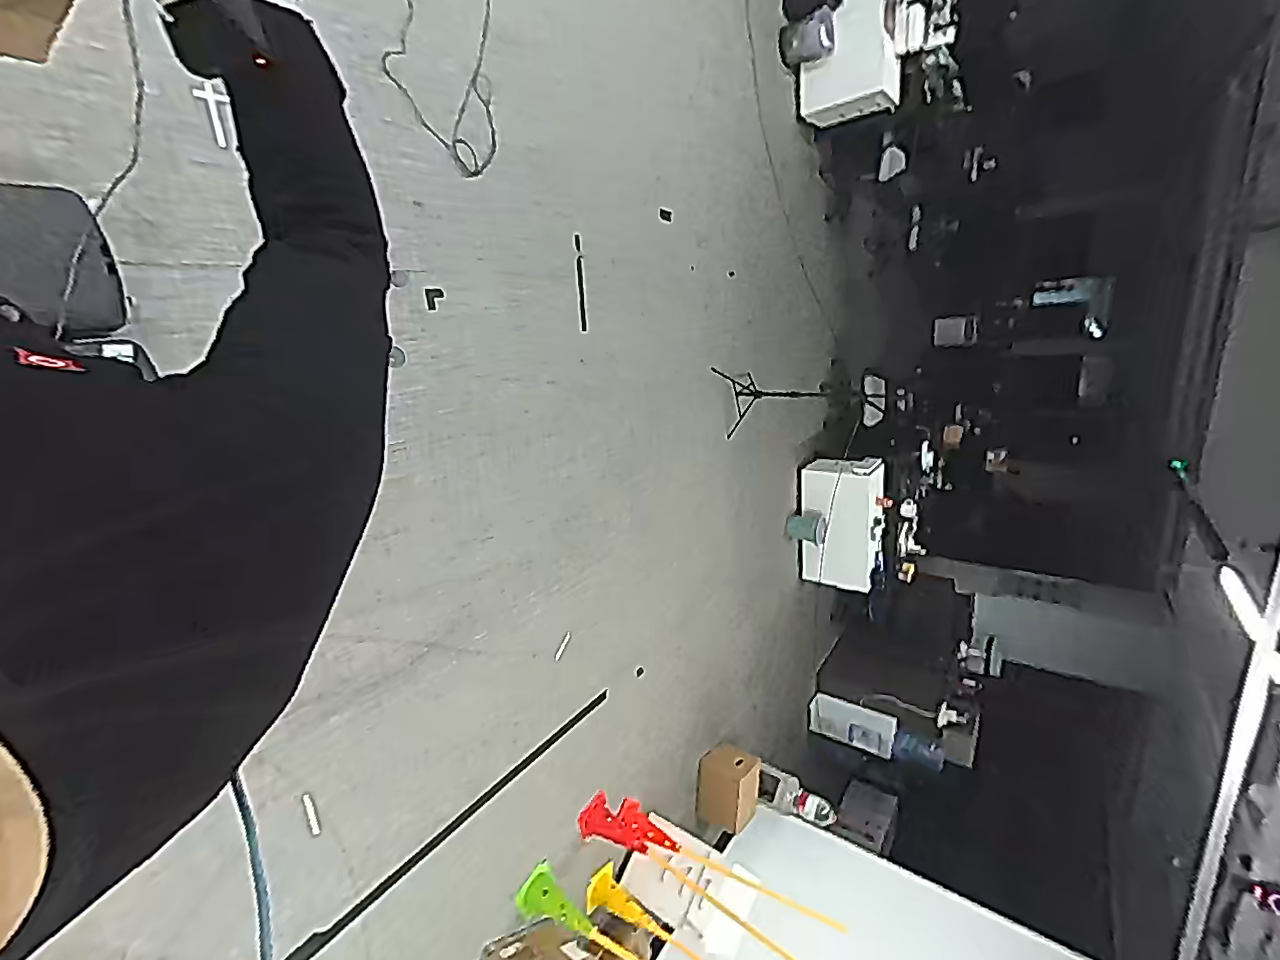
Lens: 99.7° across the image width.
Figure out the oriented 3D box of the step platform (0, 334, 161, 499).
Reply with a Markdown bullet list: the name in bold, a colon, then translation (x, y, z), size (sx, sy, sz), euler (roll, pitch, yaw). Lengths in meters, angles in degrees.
- **step platform**: translation (-1.301, -0.081, 0.949), size (0.684, 0.204, 0.286), euler (-26, 116, -47)
